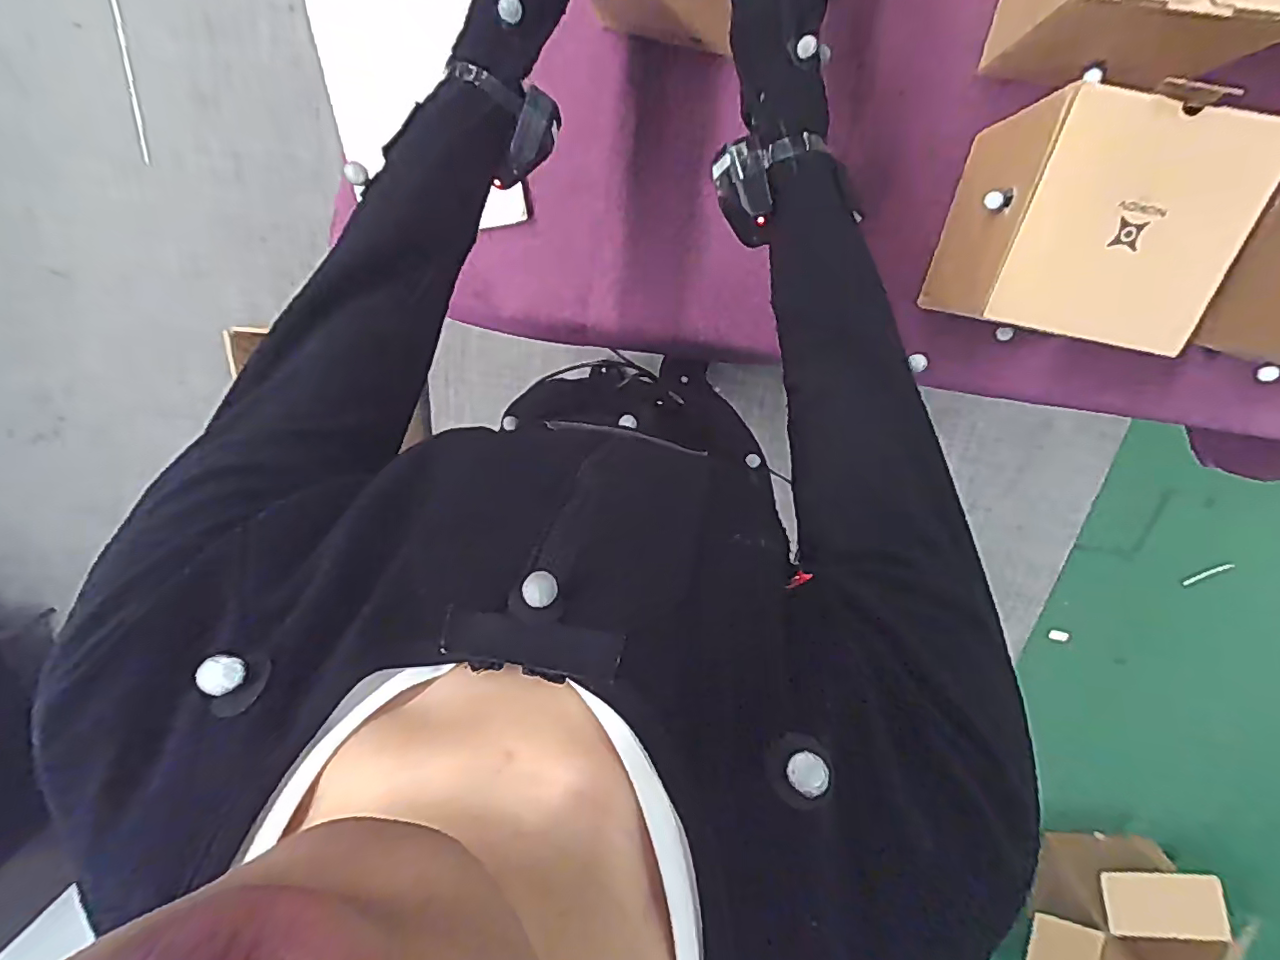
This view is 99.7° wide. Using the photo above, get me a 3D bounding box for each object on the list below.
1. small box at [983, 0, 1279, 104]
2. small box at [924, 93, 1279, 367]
[{"bbox_3d":[0.412,-0.429,0.423,0.168,0.176,0.179,11,112,3],"label":"small box"},{"bbox_3d":[0.397,-0.222,0.507,0.168,0.176,0.179,14,113,3],"label":"small box"}]
